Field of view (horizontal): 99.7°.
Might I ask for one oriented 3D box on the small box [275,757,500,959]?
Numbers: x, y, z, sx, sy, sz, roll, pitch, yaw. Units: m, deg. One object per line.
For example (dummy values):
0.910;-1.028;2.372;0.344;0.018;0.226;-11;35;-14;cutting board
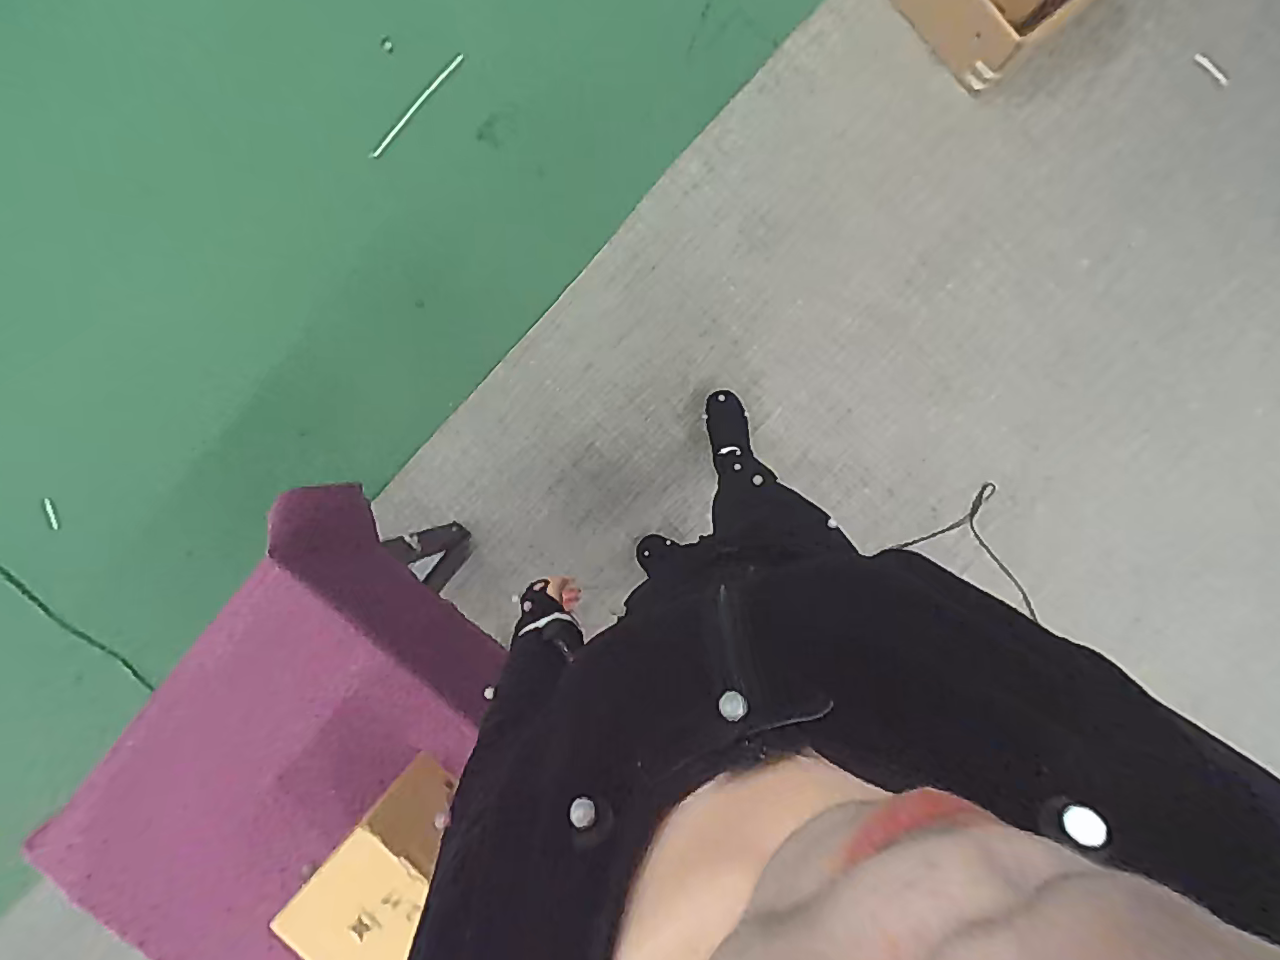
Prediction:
-0.315;0.519;0.715;0.168;0.176;0.179;42;93;0;small box
